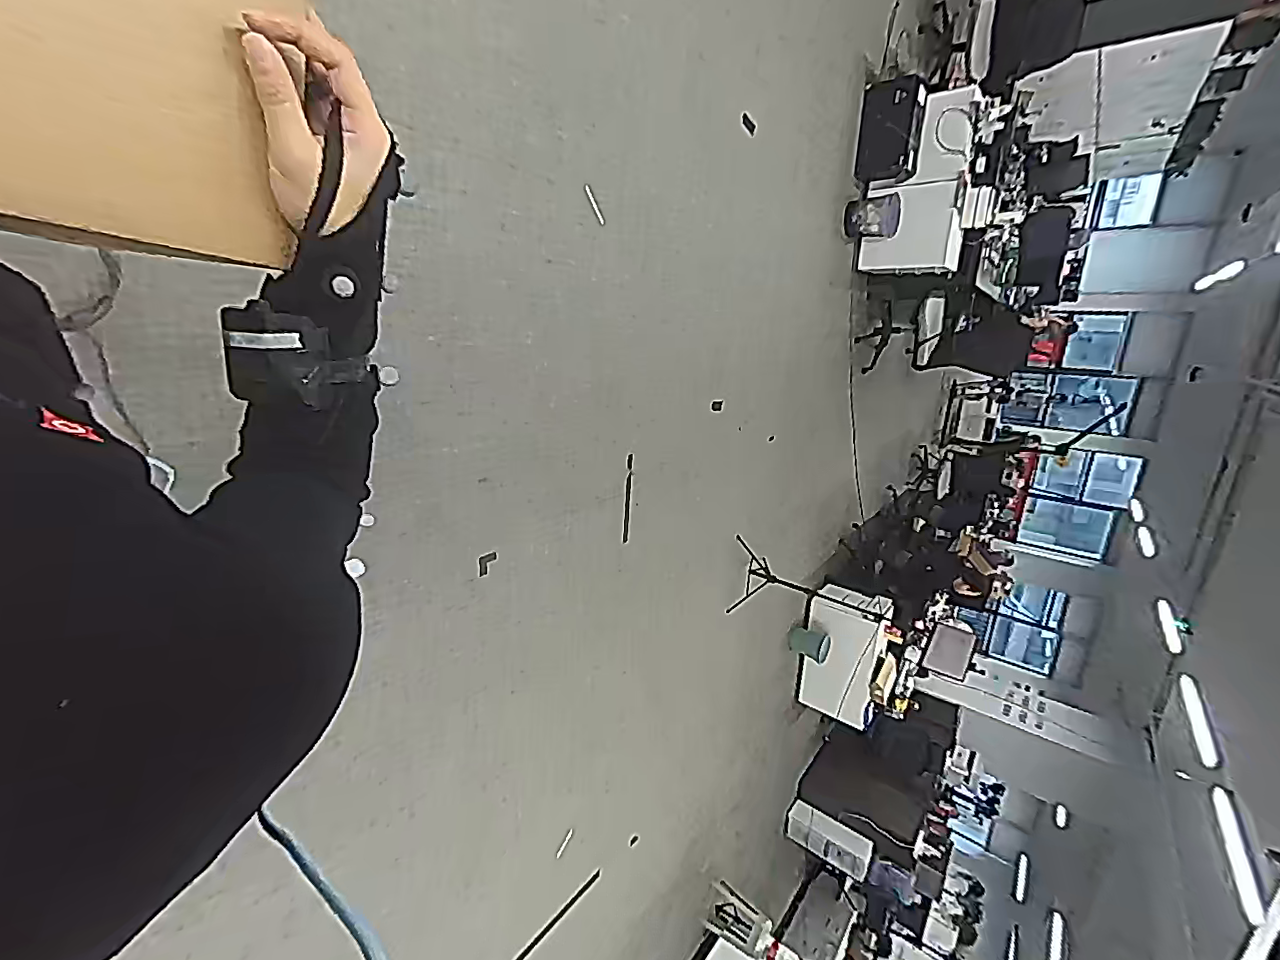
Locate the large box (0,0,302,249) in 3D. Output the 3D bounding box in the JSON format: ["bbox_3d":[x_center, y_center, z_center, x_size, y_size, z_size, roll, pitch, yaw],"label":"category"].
[{"bbox_3d":[-0.420,-0.300,0.207,0.408,0.320,0.320,-13,117,-59],"label":"large box"}]
